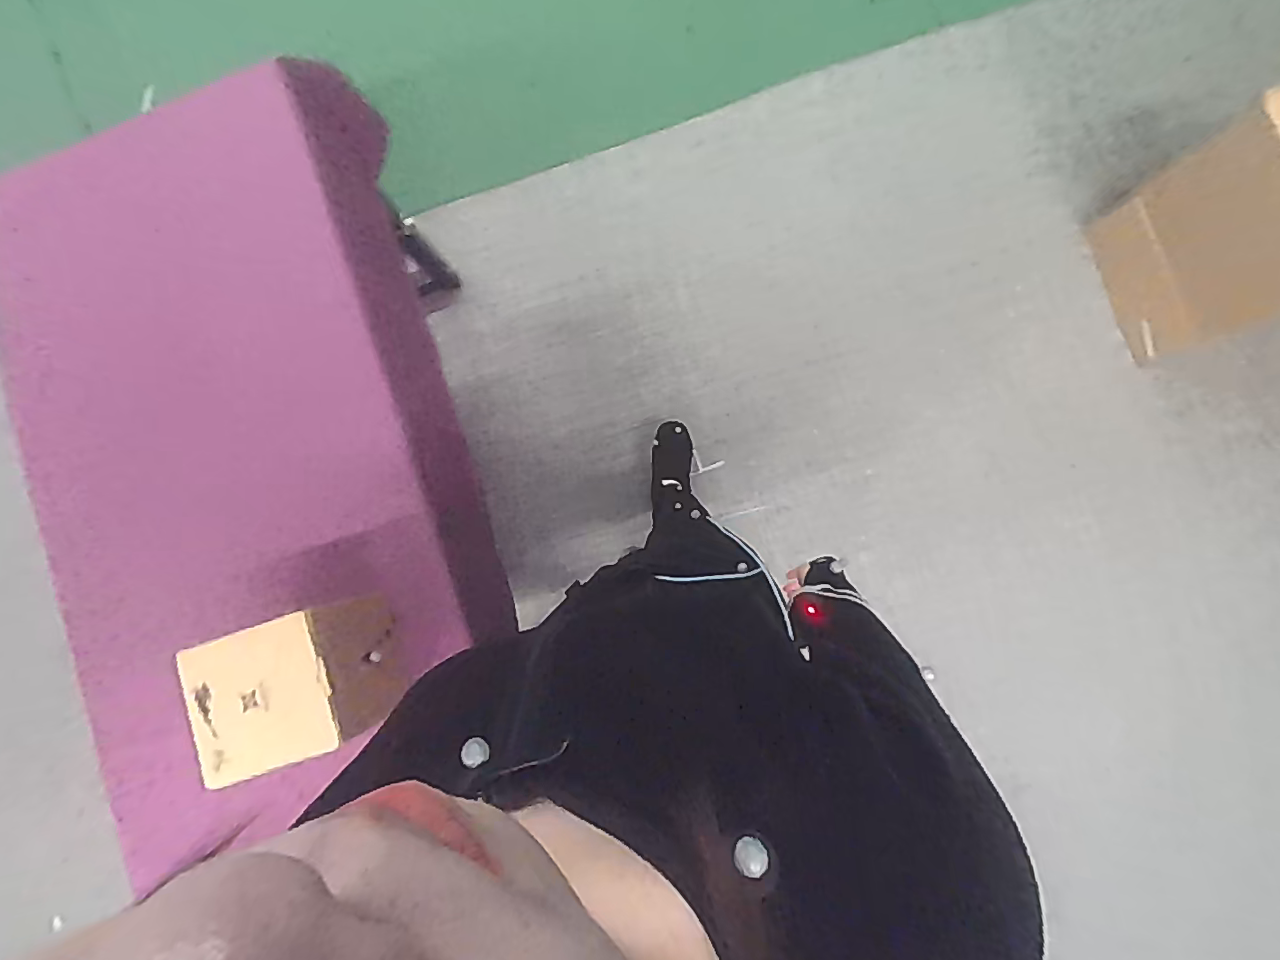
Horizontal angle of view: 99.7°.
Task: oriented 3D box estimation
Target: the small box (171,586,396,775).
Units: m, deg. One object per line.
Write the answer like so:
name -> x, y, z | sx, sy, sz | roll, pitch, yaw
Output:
small box -> -0.450, 0.249, 0.716 | 0.179, 0.176, 0.168 | -18, 85, 2
